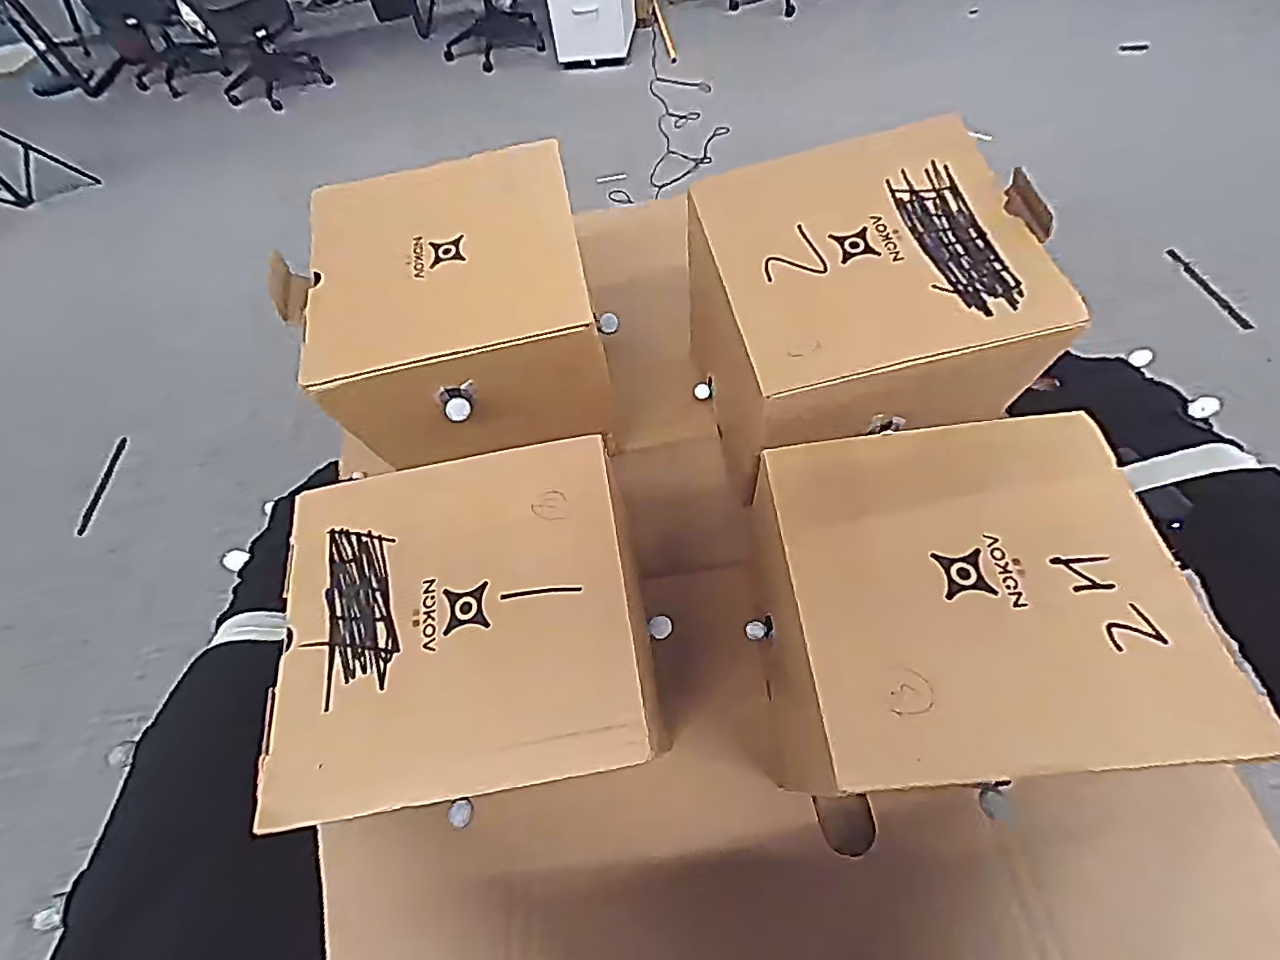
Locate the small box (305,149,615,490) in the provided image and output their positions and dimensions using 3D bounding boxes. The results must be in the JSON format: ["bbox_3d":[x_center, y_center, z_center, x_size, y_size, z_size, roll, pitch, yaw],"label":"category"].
[{"bbox_3d":[-0.120,-0.109,0.422,0.179,0.176,0.168,-13,66,1],"label":"small box"}]
